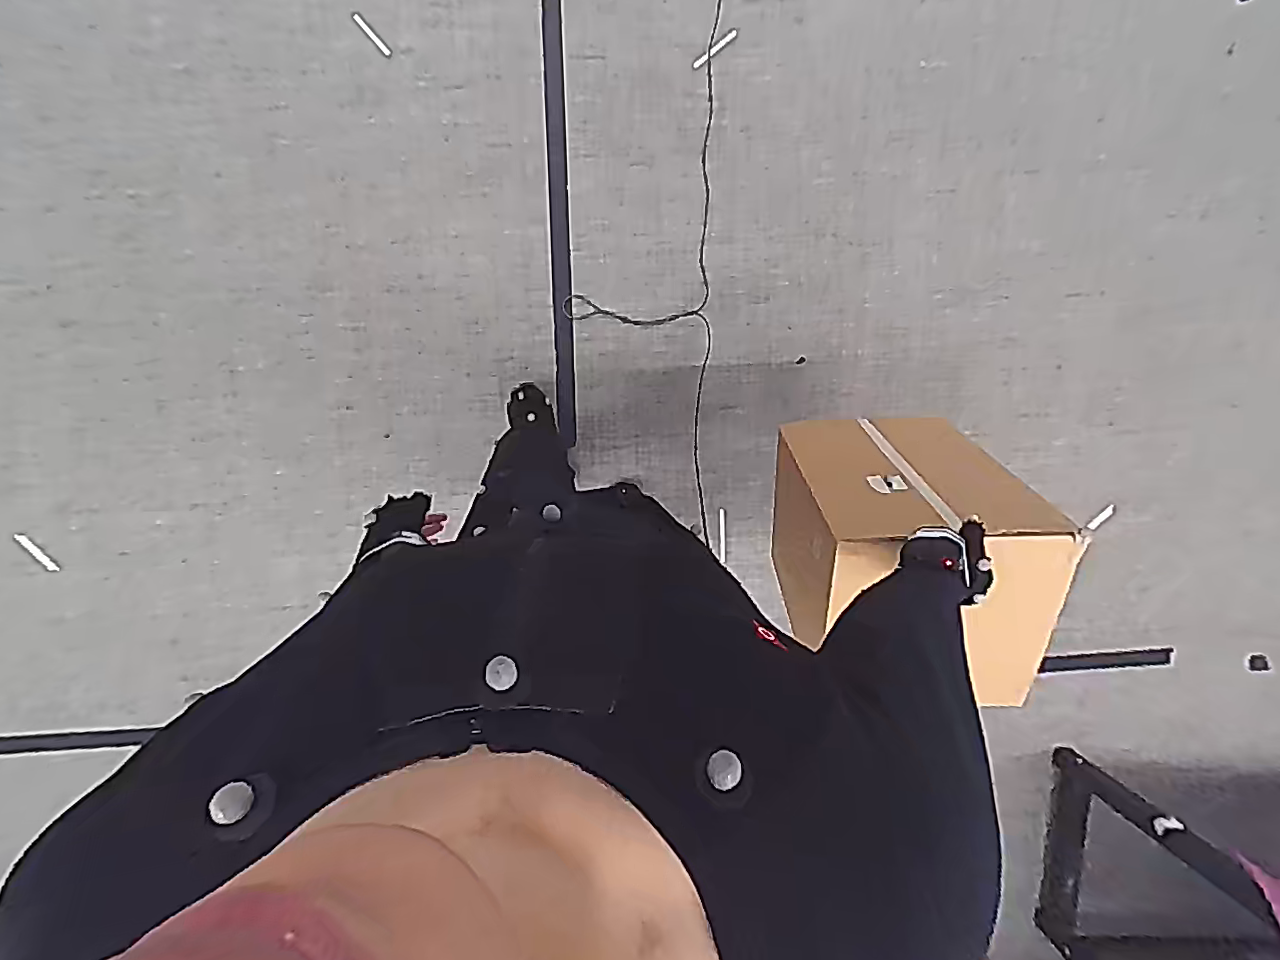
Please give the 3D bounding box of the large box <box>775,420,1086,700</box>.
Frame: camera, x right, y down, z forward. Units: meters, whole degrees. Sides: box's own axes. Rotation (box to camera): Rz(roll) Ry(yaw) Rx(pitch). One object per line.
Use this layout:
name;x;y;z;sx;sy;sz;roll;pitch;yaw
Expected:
large box;0.435;0.116;0.945;0.320;0.408;0.320;-3;118;4
